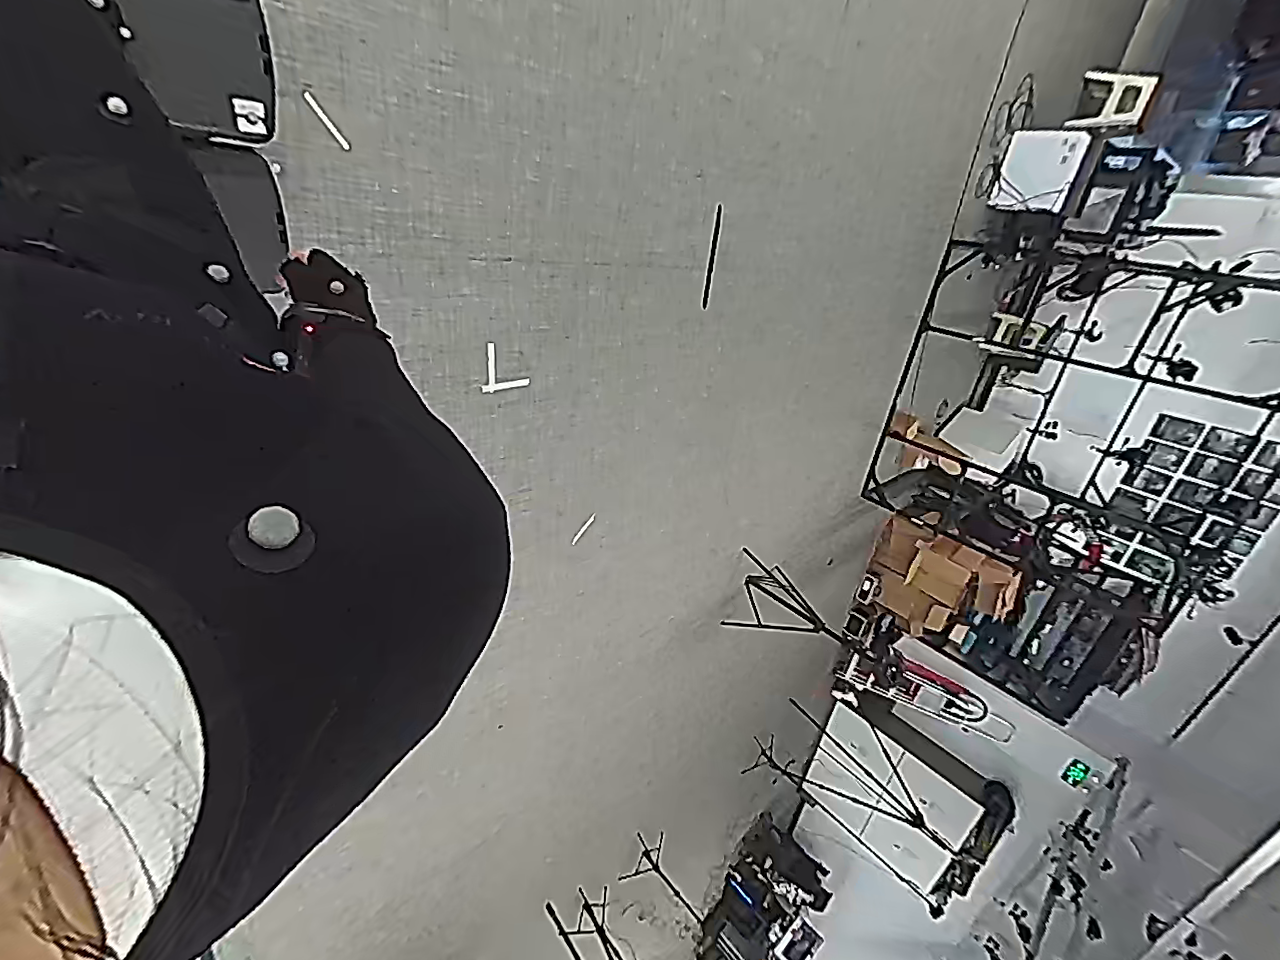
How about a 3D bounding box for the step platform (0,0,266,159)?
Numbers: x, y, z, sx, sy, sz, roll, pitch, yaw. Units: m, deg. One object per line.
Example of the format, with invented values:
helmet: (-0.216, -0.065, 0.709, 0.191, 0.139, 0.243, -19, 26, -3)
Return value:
step platform: (-0.975, -0.686, 0.805, 0.684, 0.204, 0.286, -19, 128, -41)
